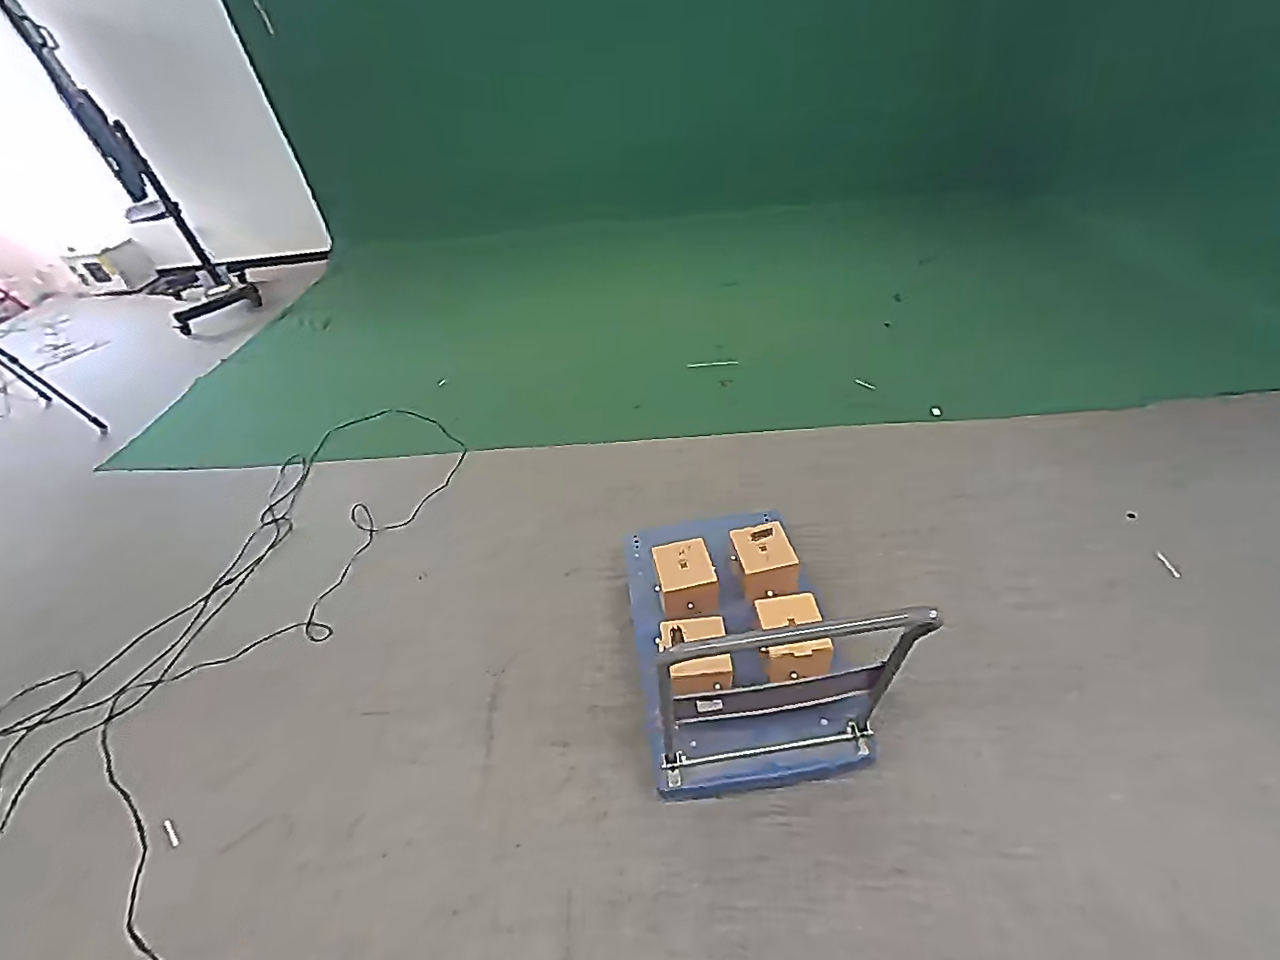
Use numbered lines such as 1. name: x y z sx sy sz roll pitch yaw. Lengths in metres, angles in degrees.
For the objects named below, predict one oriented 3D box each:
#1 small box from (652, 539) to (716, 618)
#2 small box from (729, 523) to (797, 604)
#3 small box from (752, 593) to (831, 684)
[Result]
1. small box: 0.140 0.318 1.711 0.168 0.176 0.179 -11 43 -5
2. small box: 0.386 0.267 1.729 0.168 0.176 0.179 -12 44 -3
3. small box: 0.420 0.449 1.532 0.168 0.176 0.179 -8 43 -1
